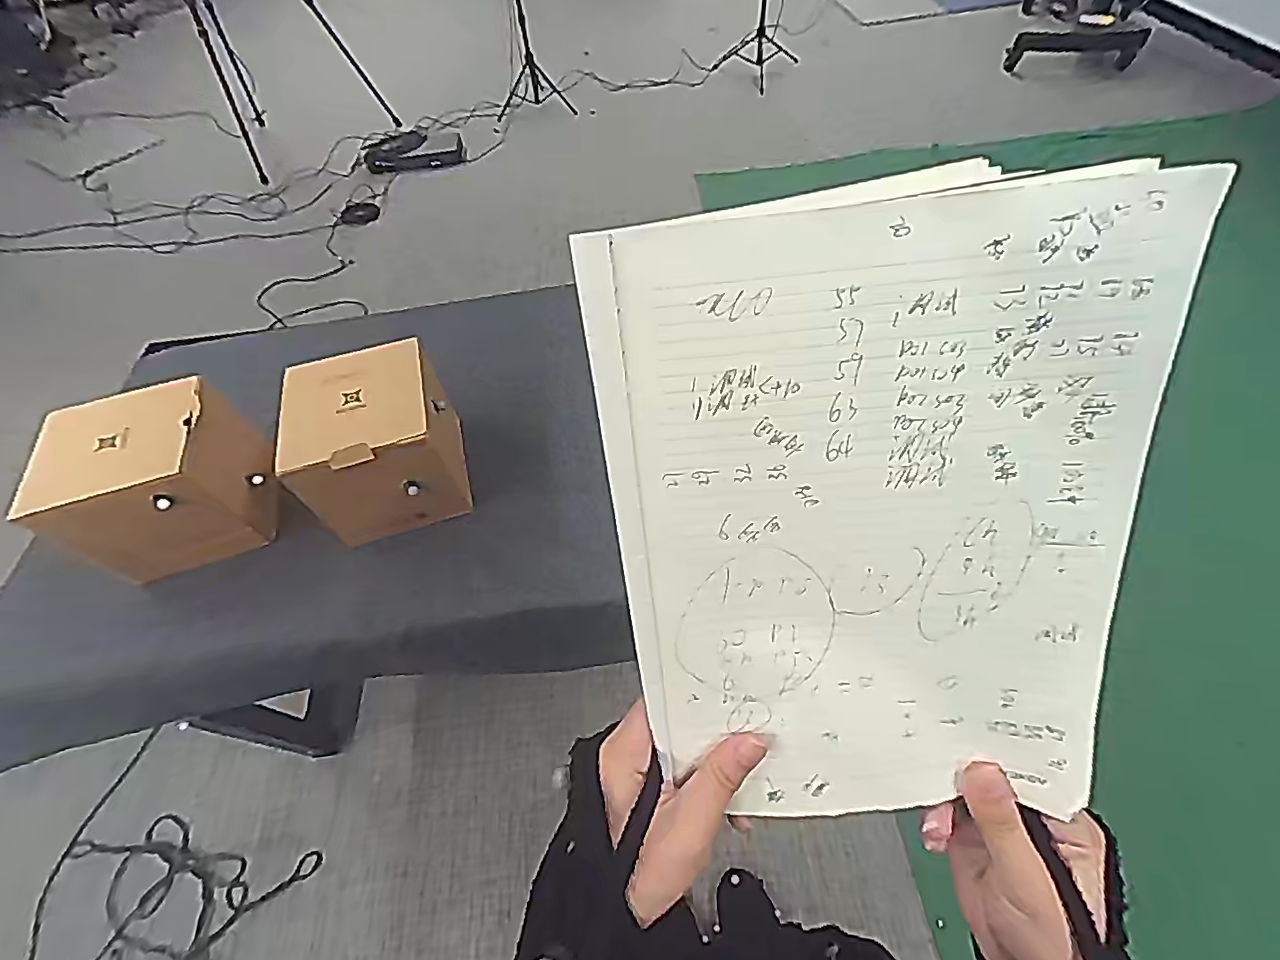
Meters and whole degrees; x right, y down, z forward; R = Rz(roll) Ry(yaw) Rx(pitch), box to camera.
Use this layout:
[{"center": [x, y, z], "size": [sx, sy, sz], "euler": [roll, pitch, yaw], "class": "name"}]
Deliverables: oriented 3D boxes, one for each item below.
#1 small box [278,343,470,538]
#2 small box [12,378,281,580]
[{"center": [-0.330, -0.043, 0.702], "size": [0.168, 0.176, 0.179], "euler": [-15, 54, -8], "class": "small box"}, {"center": [-0.599, 0.004, 0.690], "size": [0.179, 0.176, 0.168], "euler": [-17, 55, -9], "class": "small box"}]
